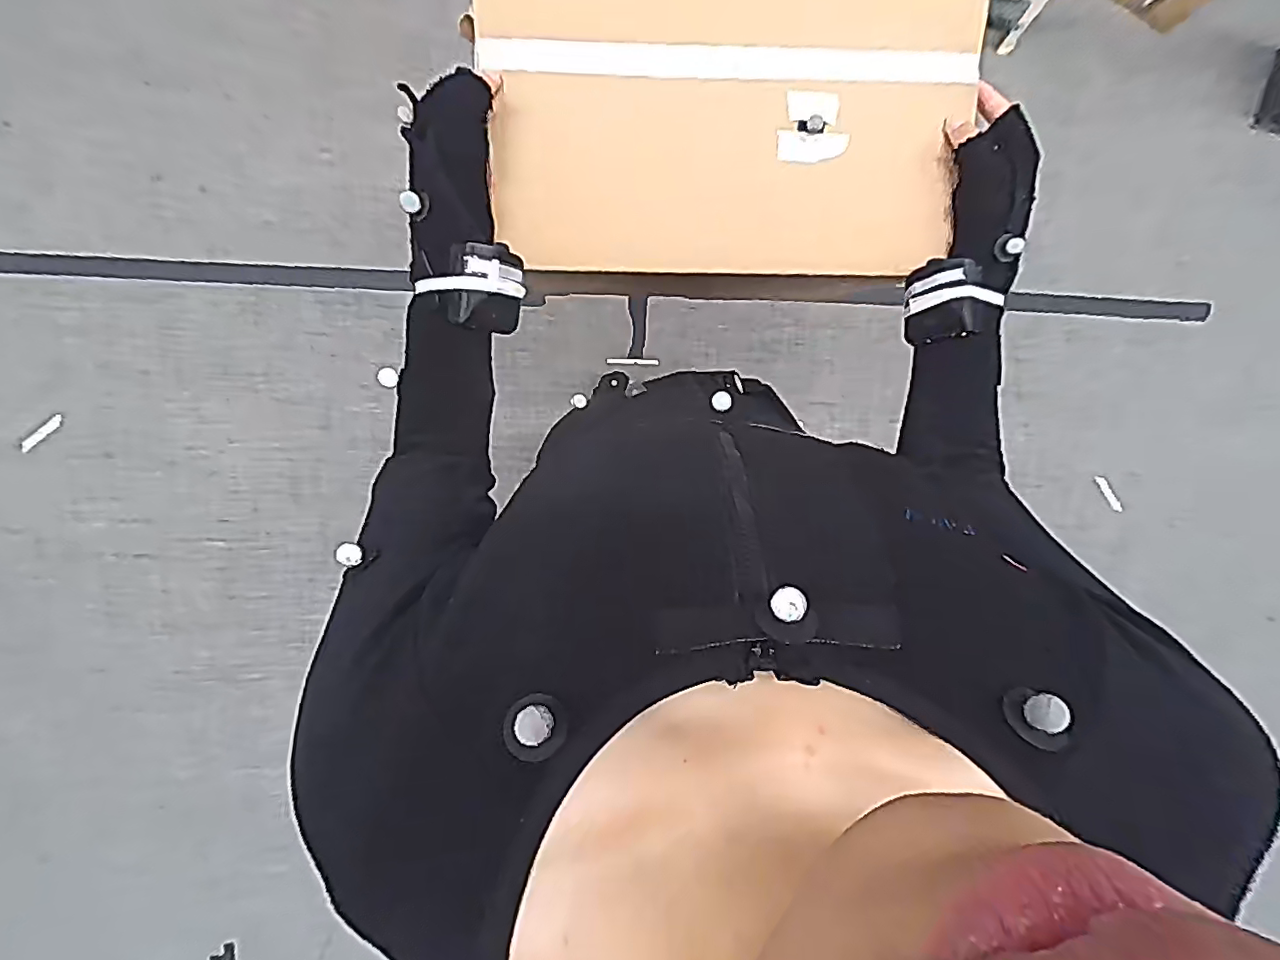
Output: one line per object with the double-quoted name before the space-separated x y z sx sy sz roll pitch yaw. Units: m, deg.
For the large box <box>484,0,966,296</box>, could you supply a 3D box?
"large box" 0.062 -0.380 0.599 0.408 0.320 0.320 -1 106 -3
